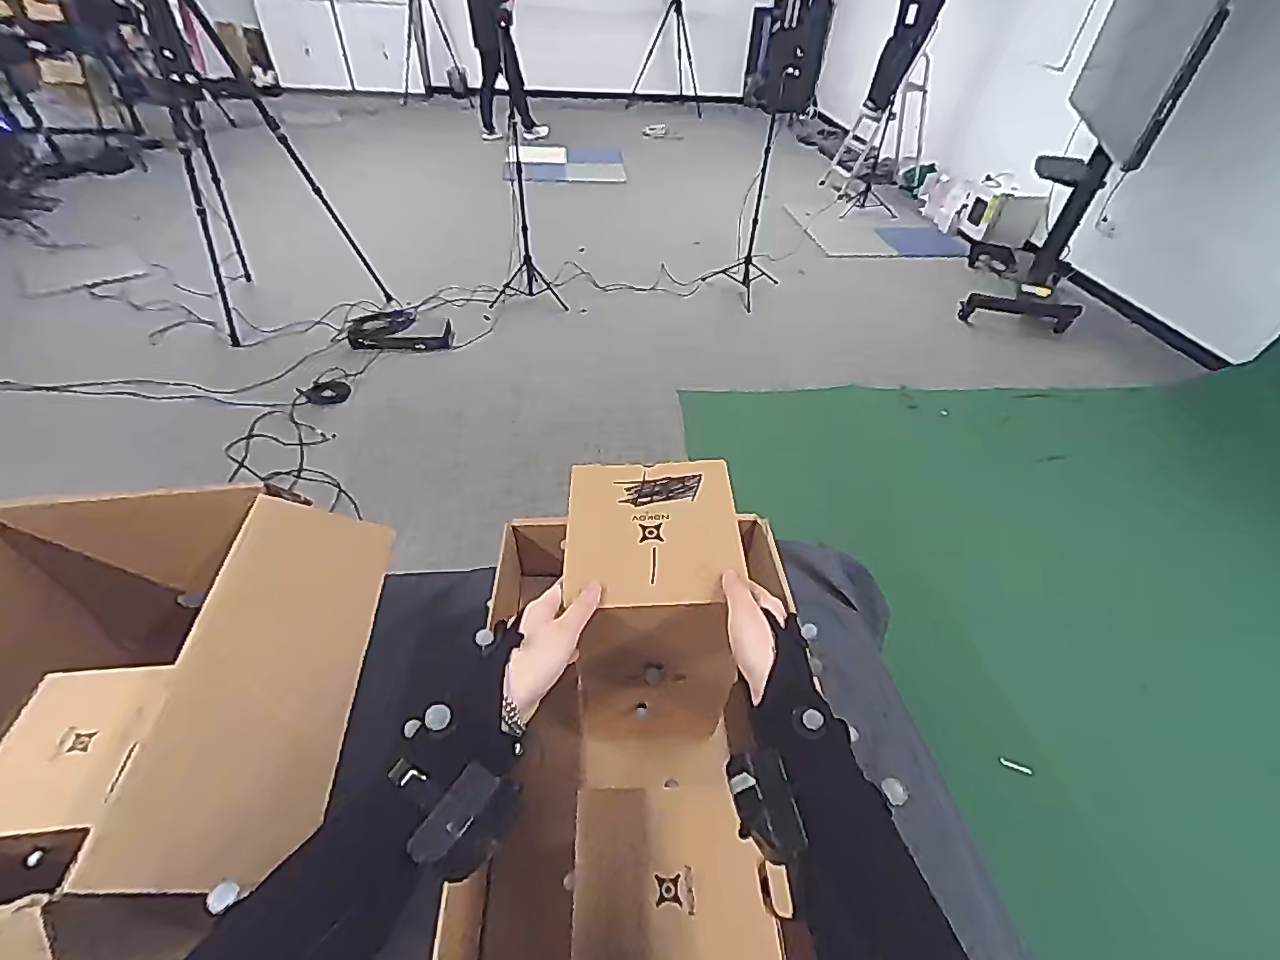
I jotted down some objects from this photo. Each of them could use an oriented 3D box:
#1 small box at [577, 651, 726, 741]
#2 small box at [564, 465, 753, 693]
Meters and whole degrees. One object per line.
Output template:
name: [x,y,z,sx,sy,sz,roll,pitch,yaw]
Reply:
small box: [0.013,0.231,0.713,0.179,0.176,0.168,-1,46,-3]
small box: [0.016,0.105,0.576,0.168,0.176,0.179,-3,46,1]
